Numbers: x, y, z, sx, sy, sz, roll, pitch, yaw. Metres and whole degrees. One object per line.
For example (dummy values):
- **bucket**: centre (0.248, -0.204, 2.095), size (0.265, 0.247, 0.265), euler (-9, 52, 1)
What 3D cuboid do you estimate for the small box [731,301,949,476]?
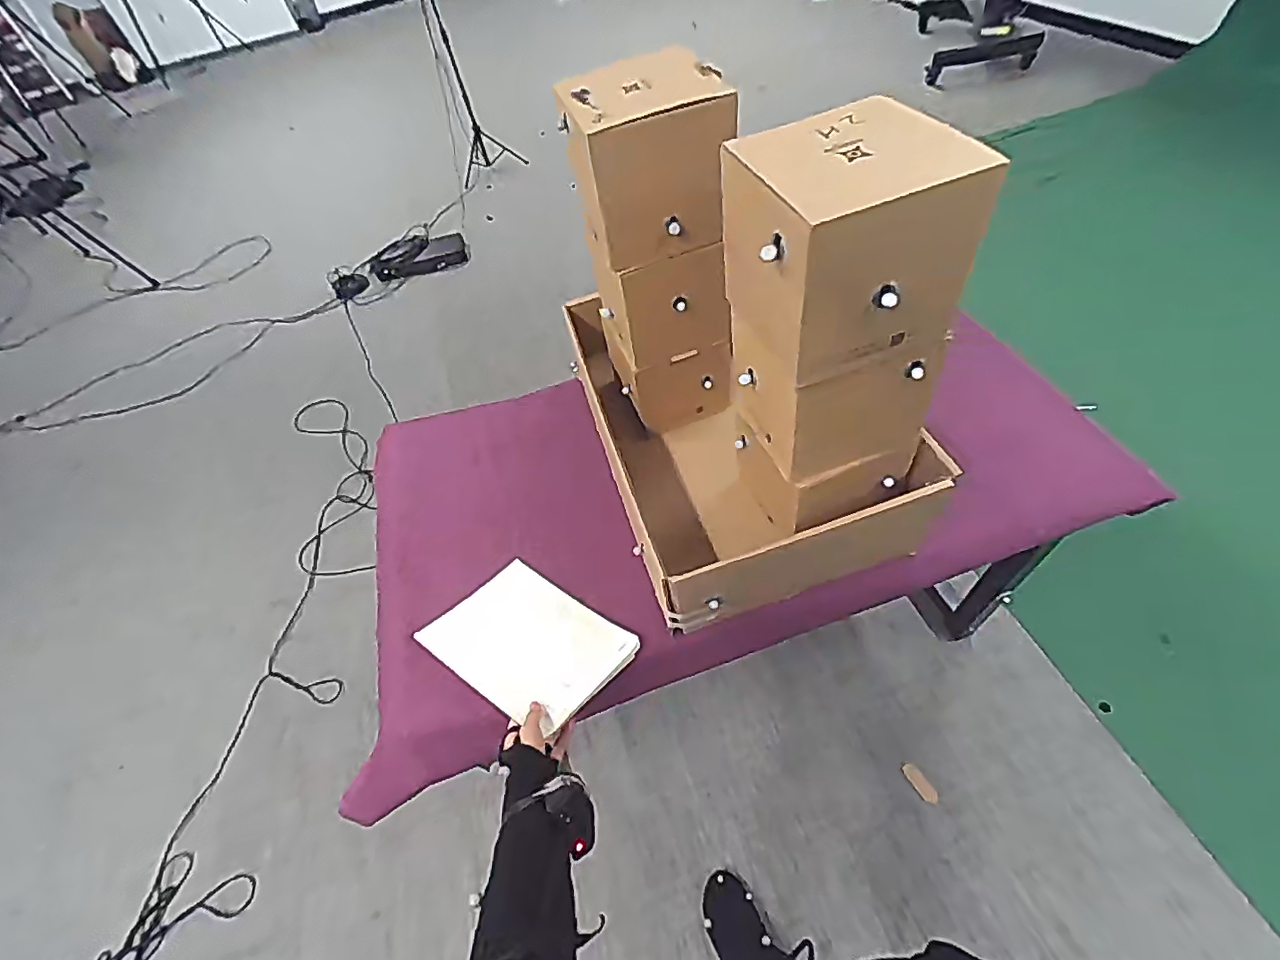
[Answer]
- **small box**: centre (0.222, -0.130, 0.648), size (0.179, 0.176, 0.168), euler (-18, 51, -4)

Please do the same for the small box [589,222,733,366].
- **small box**: centre (0.036, -0.305, 0.817), size (0.179, 0.176, 0.168), euler (-21, 54, -6)

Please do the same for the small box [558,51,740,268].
- **small box**: centre (0.012, -0.402, 0.687), size (0.179, 0.176, 0.168), euler (-18, 53, -5)

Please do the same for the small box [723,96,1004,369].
- **small box**: centre (0.191, -0.227, 0.519), size (0.168, 0.176, 0.179), euler (-19, 51, -4)
